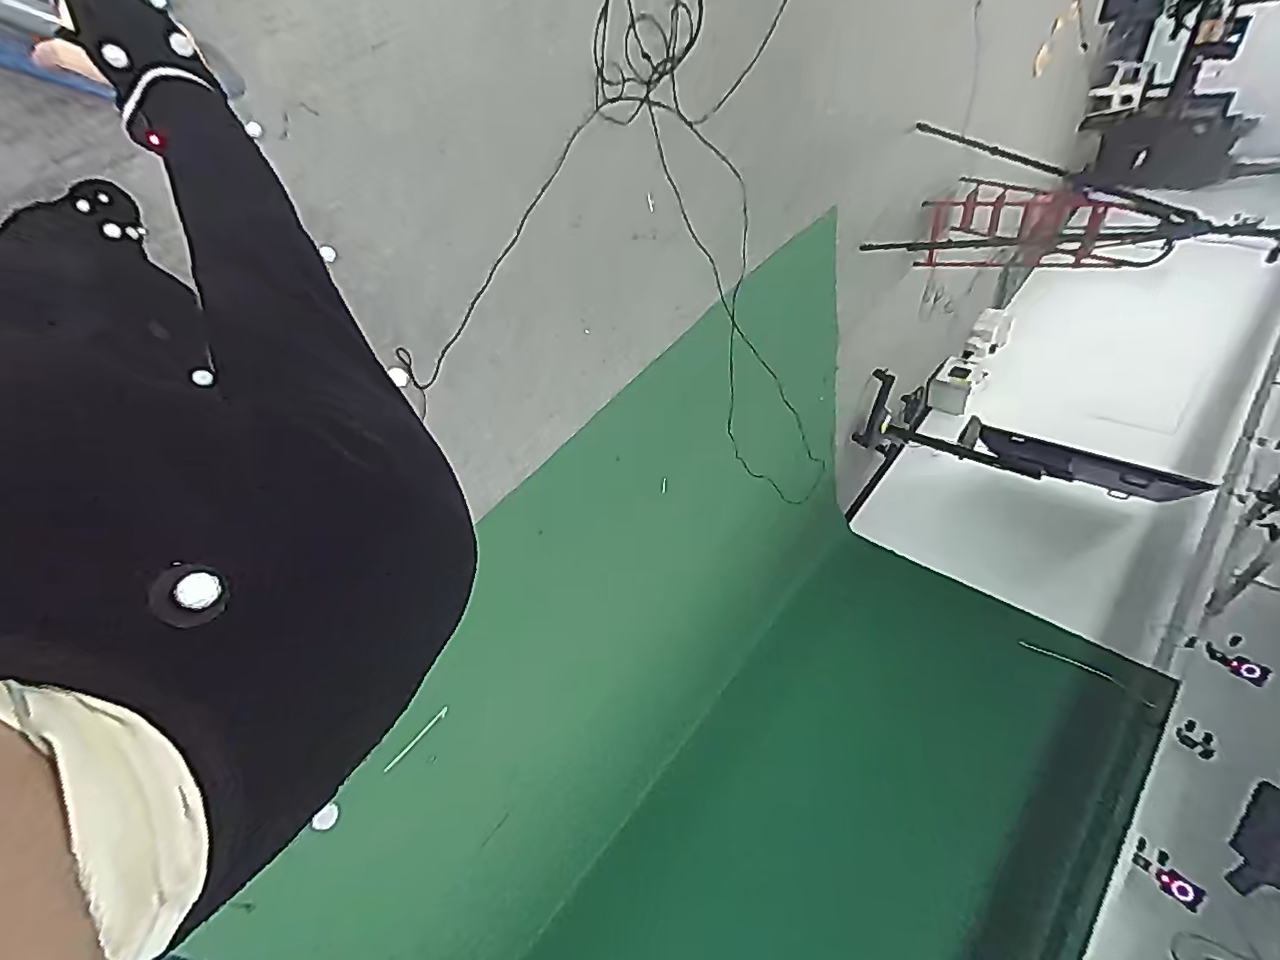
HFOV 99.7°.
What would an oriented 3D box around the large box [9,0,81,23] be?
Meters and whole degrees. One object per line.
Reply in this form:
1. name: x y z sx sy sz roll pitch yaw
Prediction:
1. large box: -0.884 -0.864 0.626 0.320 0.320 0.408 -6 115 -49
